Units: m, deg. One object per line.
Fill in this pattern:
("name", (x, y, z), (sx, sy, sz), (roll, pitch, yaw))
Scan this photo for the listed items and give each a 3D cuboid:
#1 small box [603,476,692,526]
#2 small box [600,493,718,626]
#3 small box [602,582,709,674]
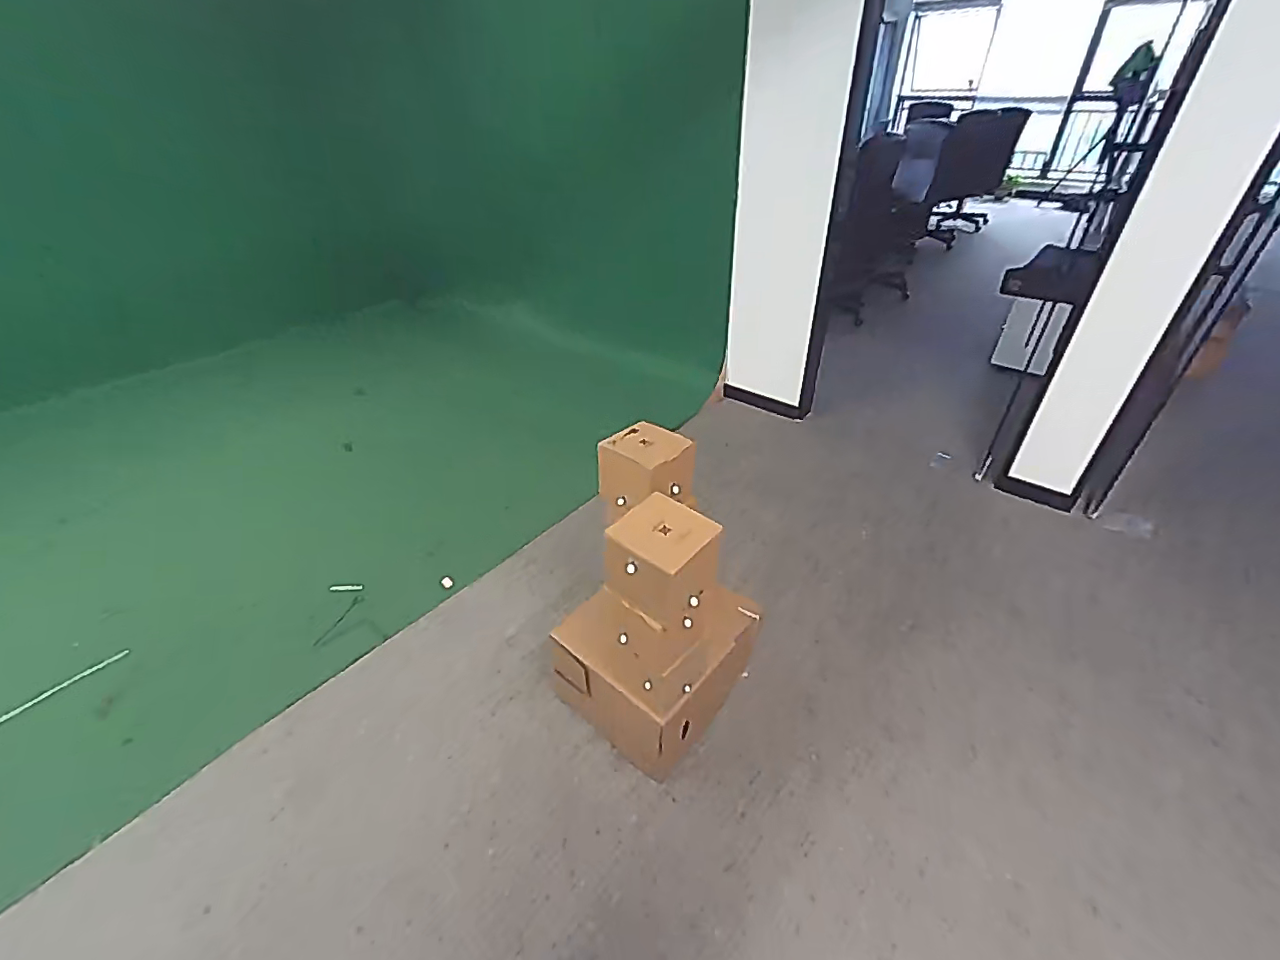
("small box", (0.018, 0.121, 1.439), (0.168, 0.176, 0.179), (28, 43, 34))
("small box", (0.037, 0.162, 1.104), (0.179, 0.176, 0.168), (28, 47, 31))
("small box", (0.031, 0.289, 1.205), (0.168, 0.176, 0.179), (31, 47, 34))
